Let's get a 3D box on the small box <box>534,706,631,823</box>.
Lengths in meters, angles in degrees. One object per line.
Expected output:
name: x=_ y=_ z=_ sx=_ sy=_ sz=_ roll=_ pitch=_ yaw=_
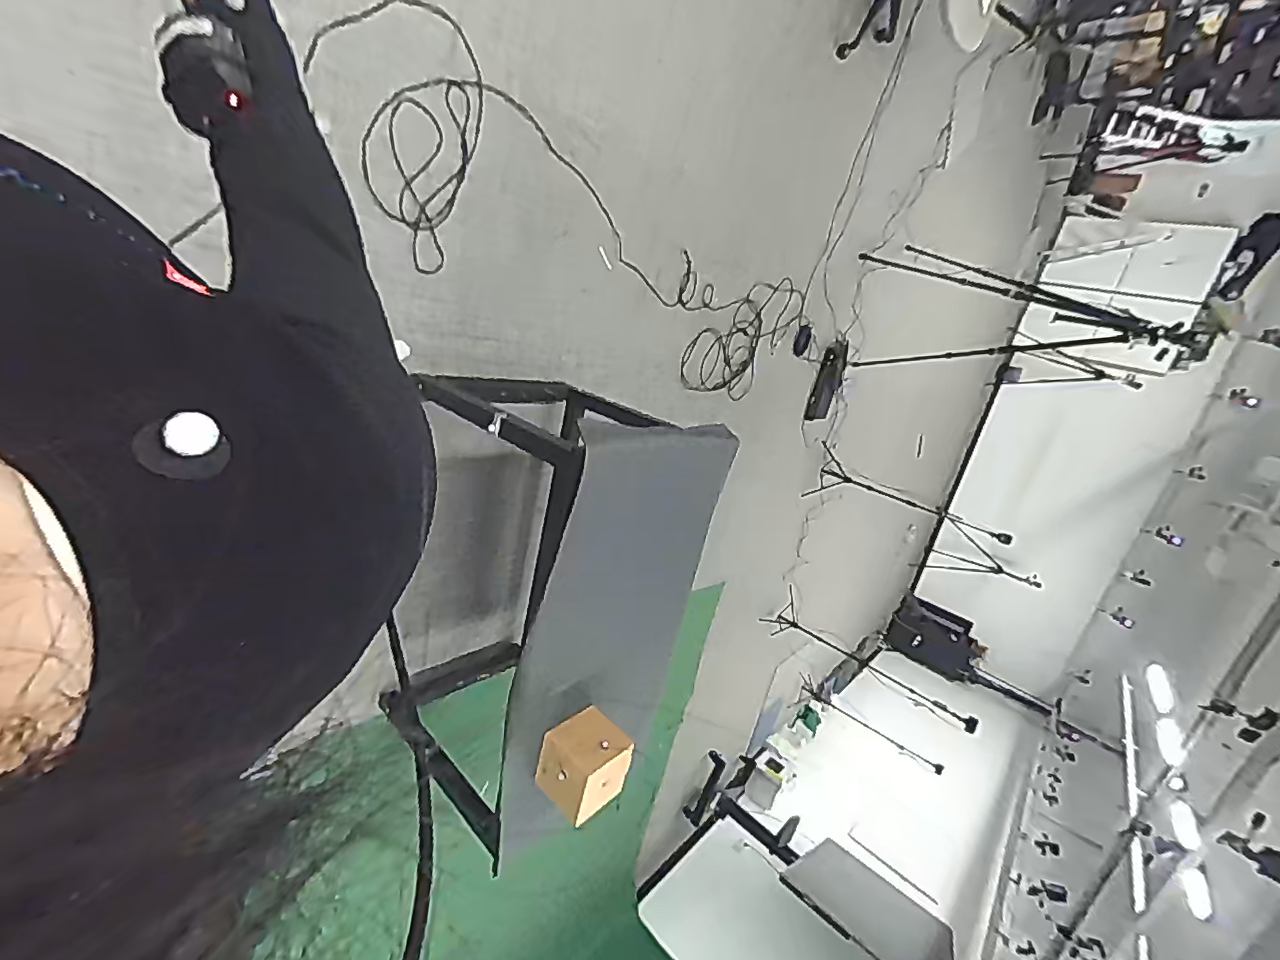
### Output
small box: x=-0.154 y=0.732 z=1.410 sx=0.179 sy=0.176 sz=0.168 roll=-9 pitch=117 yaw=-51
